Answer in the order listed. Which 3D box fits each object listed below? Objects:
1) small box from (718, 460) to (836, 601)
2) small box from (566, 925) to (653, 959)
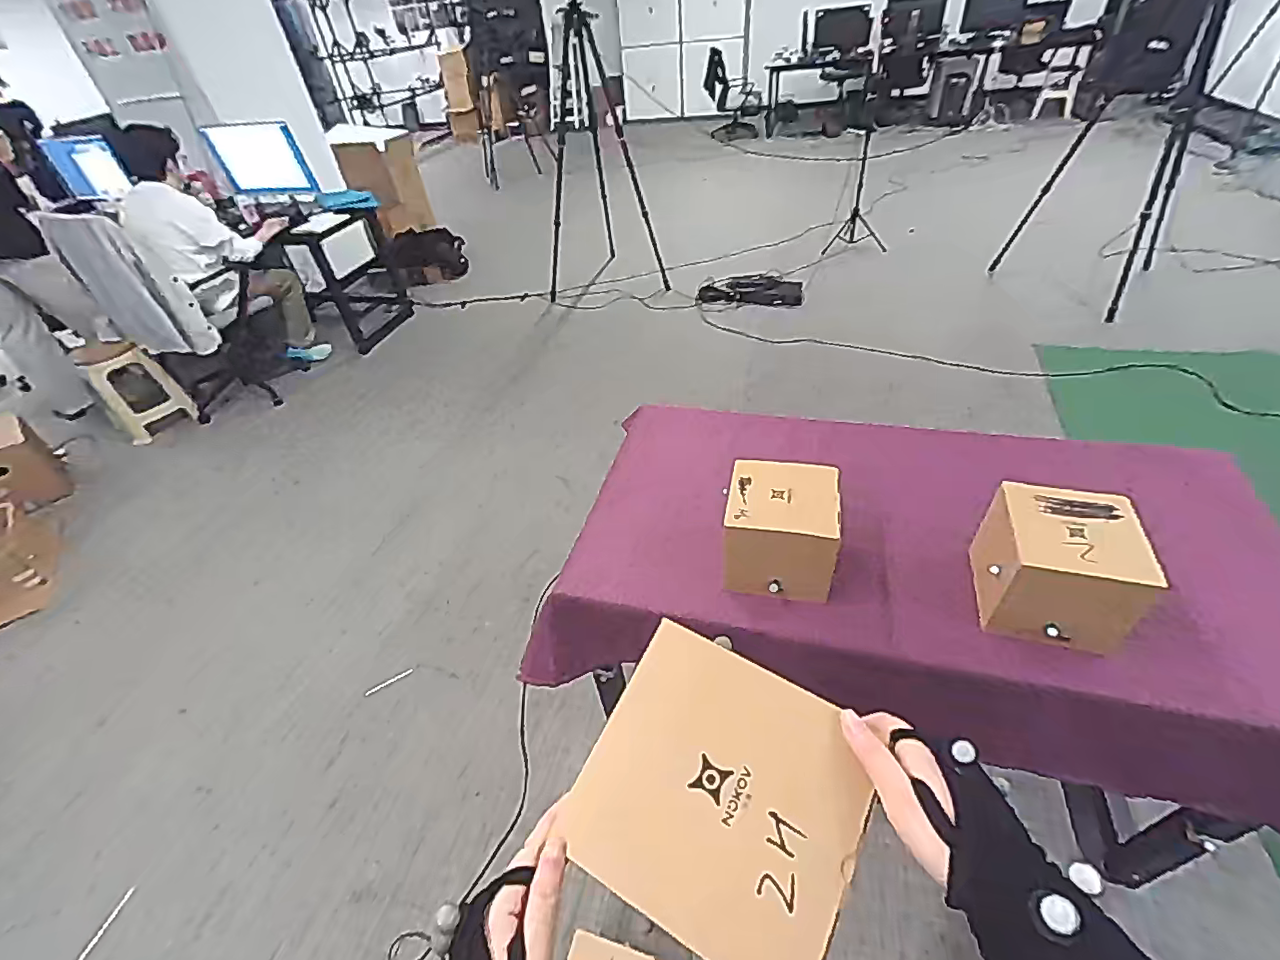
[{"bbox_3d":[0.233,0.088,0.933,0.179,0.176,0.168,6,43,13],"label":"small box"},{"bbox_3d":[-0.067,1.010,1.043,0.168,0.176,0.179,8,42,16],"label":"small box"}]
